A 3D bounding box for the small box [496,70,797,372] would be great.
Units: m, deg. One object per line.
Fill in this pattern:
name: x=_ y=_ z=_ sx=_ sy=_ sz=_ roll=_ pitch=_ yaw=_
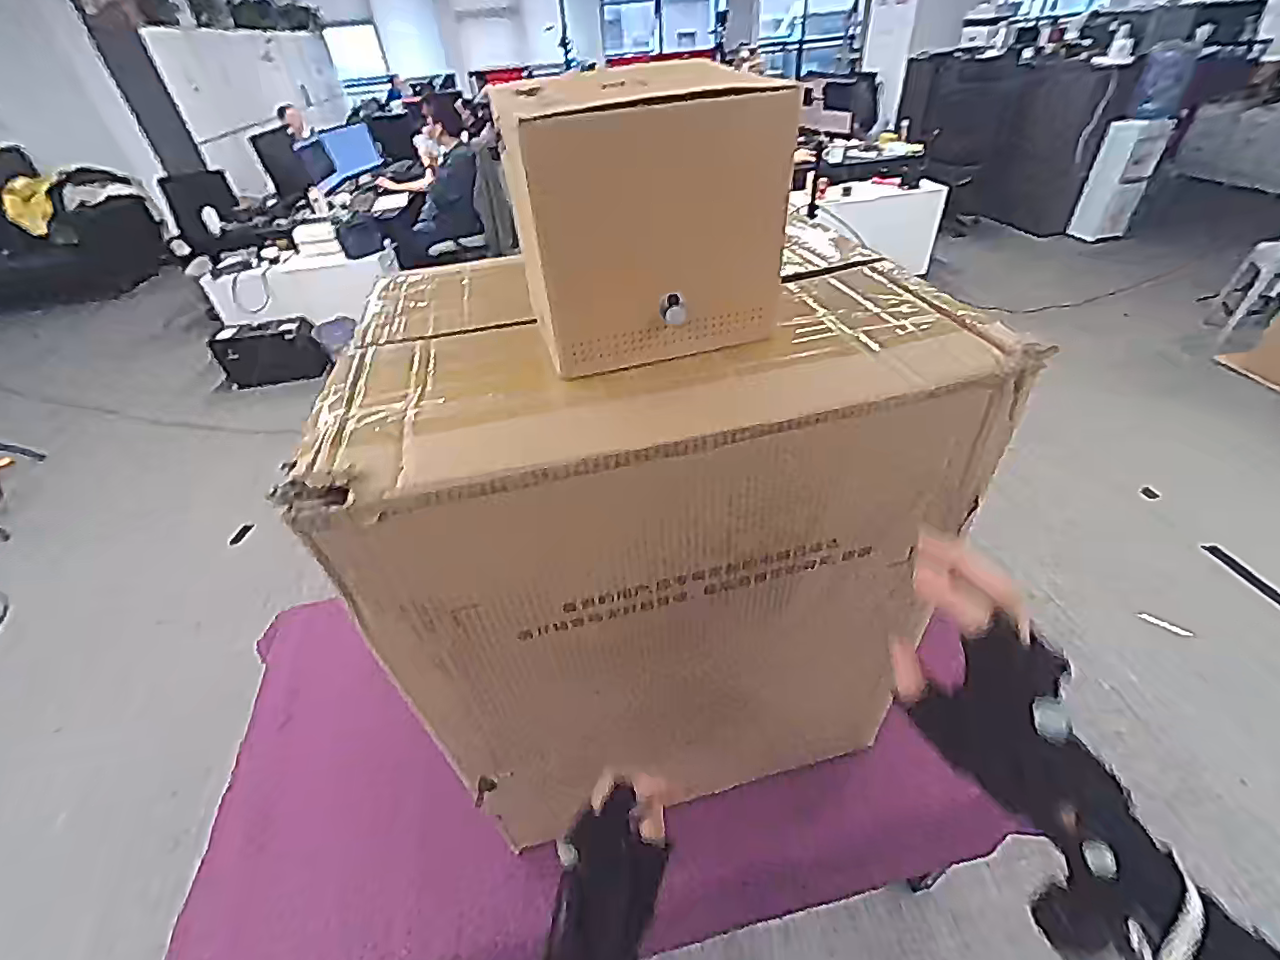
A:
small box: x=-0.003 y=-0.207 z=0.426 sx=0.179 sy=0.176 sz=0.168 roll=-14 pitch=42 yaw=-11
